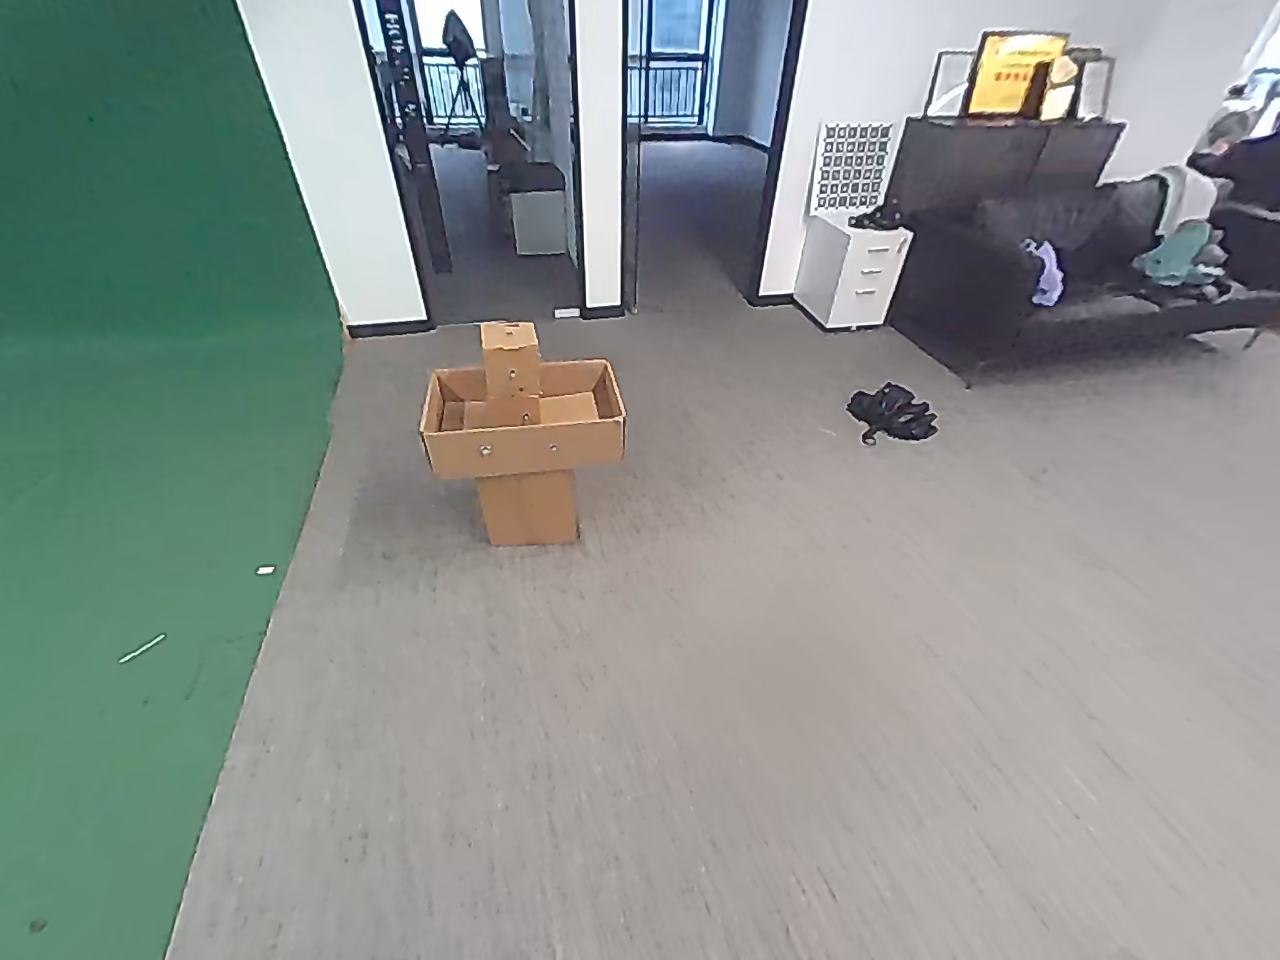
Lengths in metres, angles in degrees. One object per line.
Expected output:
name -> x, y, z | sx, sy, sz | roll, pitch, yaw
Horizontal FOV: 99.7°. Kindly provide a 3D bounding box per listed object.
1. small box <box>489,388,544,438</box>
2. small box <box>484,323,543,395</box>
small box -> -0.414, -0.250, 1.817 | 0.168, 0.176, 0.179 | -4, 38, -12
small box -> -0.403, -0.382, 1.720 | 0.168, 0.176, 0.179 | -6, 41, -13
